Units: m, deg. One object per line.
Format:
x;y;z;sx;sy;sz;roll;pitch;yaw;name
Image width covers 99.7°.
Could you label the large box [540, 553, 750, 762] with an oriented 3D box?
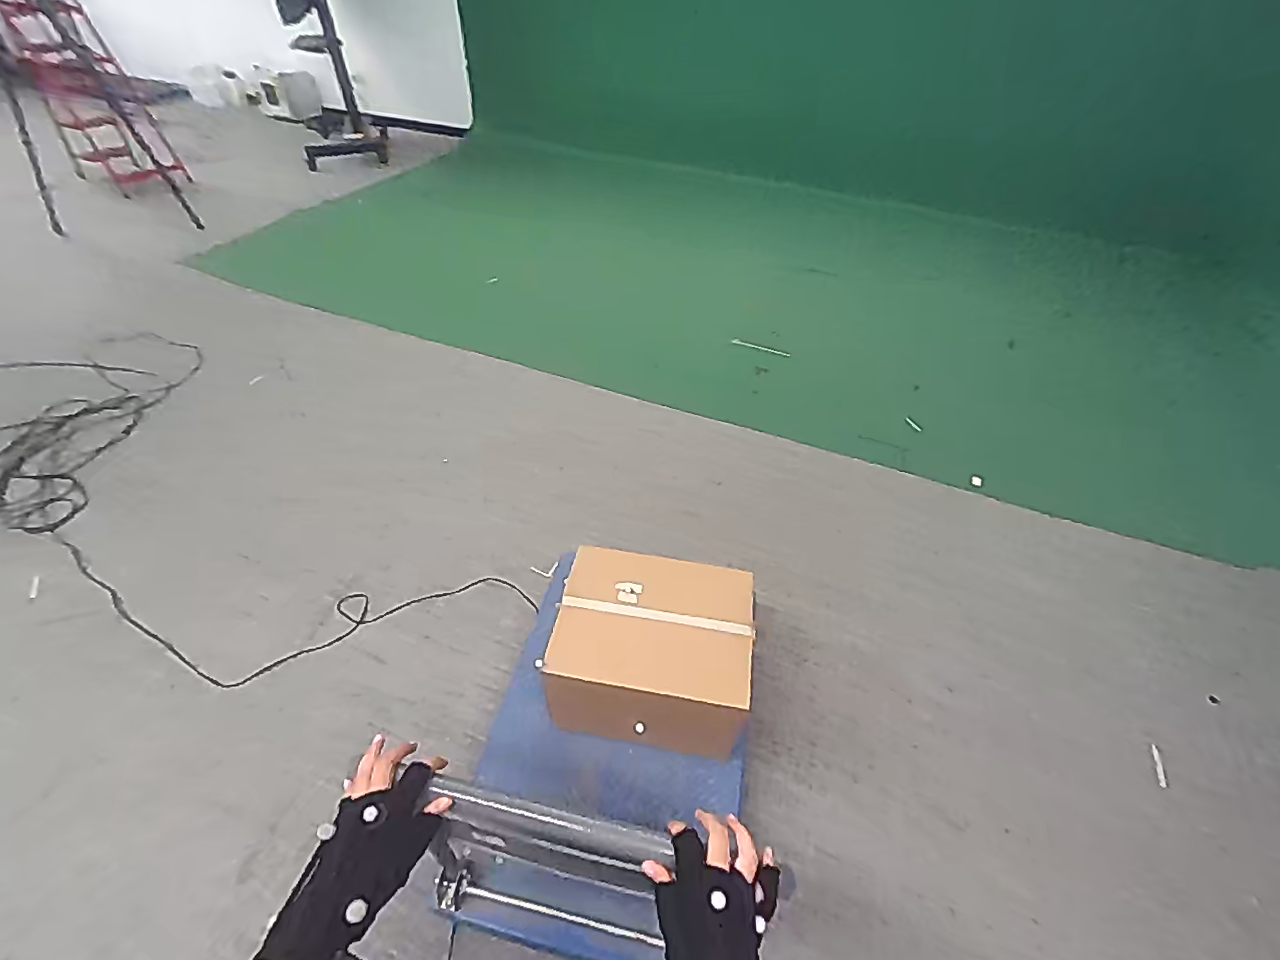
0.026;0.403;1.230;0.408;0.320;0.320;8;45;7;large box
